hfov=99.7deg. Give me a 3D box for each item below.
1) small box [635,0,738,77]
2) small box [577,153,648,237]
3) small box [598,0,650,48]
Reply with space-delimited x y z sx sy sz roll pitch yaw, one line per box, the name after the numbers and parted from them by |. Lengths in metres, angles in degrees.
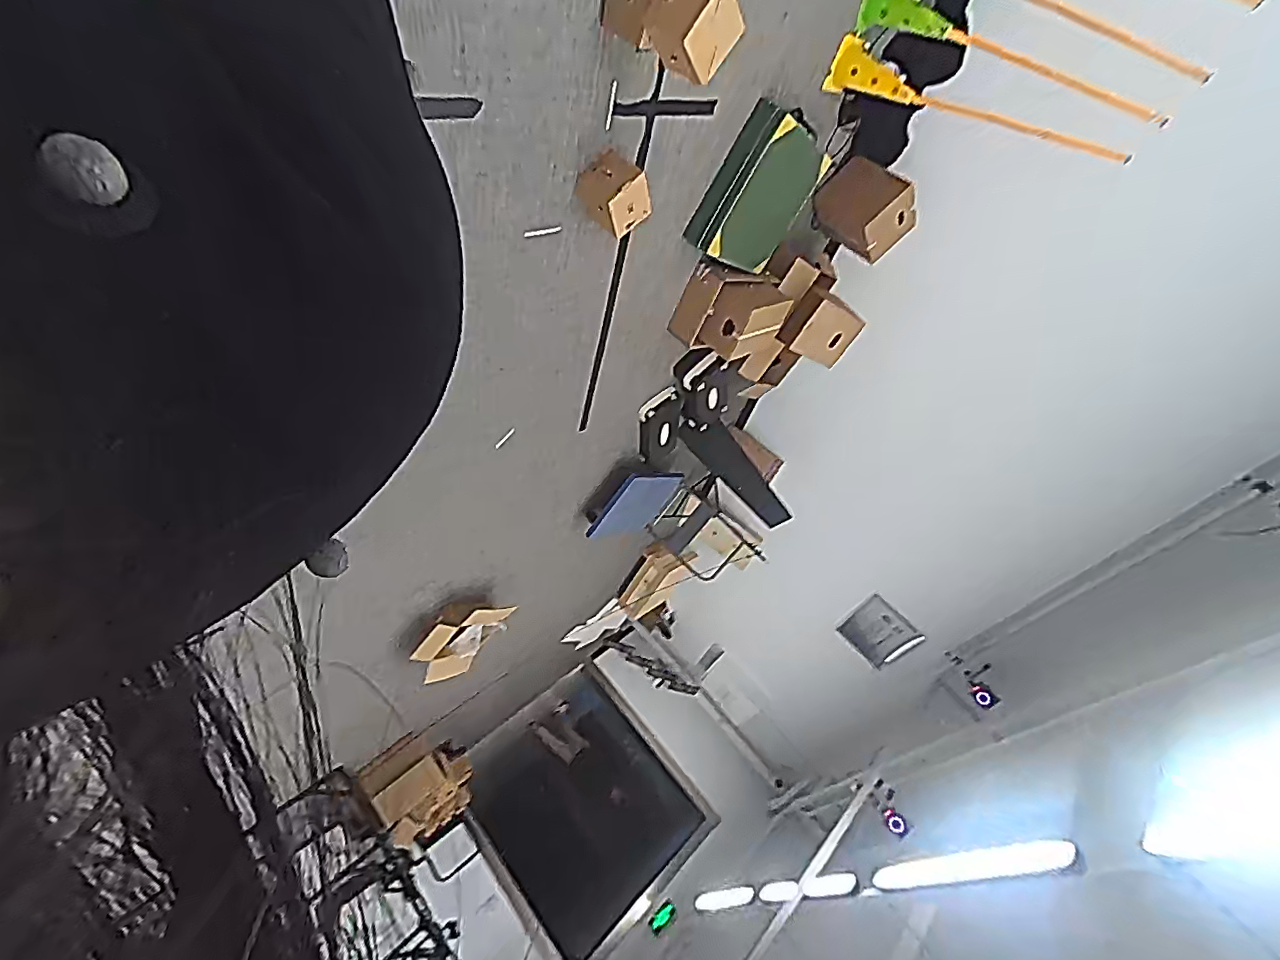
0.127 -1.218 1.433 0.179 0.176 0.168 -52 159 14 | small box
-0.097 -1.004 1.890 0.168 0.176 0.179 -41 159 -6 | small box
0.006 -1.323 1.485 0.168 0.176 0.179 -30 154 -37 | small box
